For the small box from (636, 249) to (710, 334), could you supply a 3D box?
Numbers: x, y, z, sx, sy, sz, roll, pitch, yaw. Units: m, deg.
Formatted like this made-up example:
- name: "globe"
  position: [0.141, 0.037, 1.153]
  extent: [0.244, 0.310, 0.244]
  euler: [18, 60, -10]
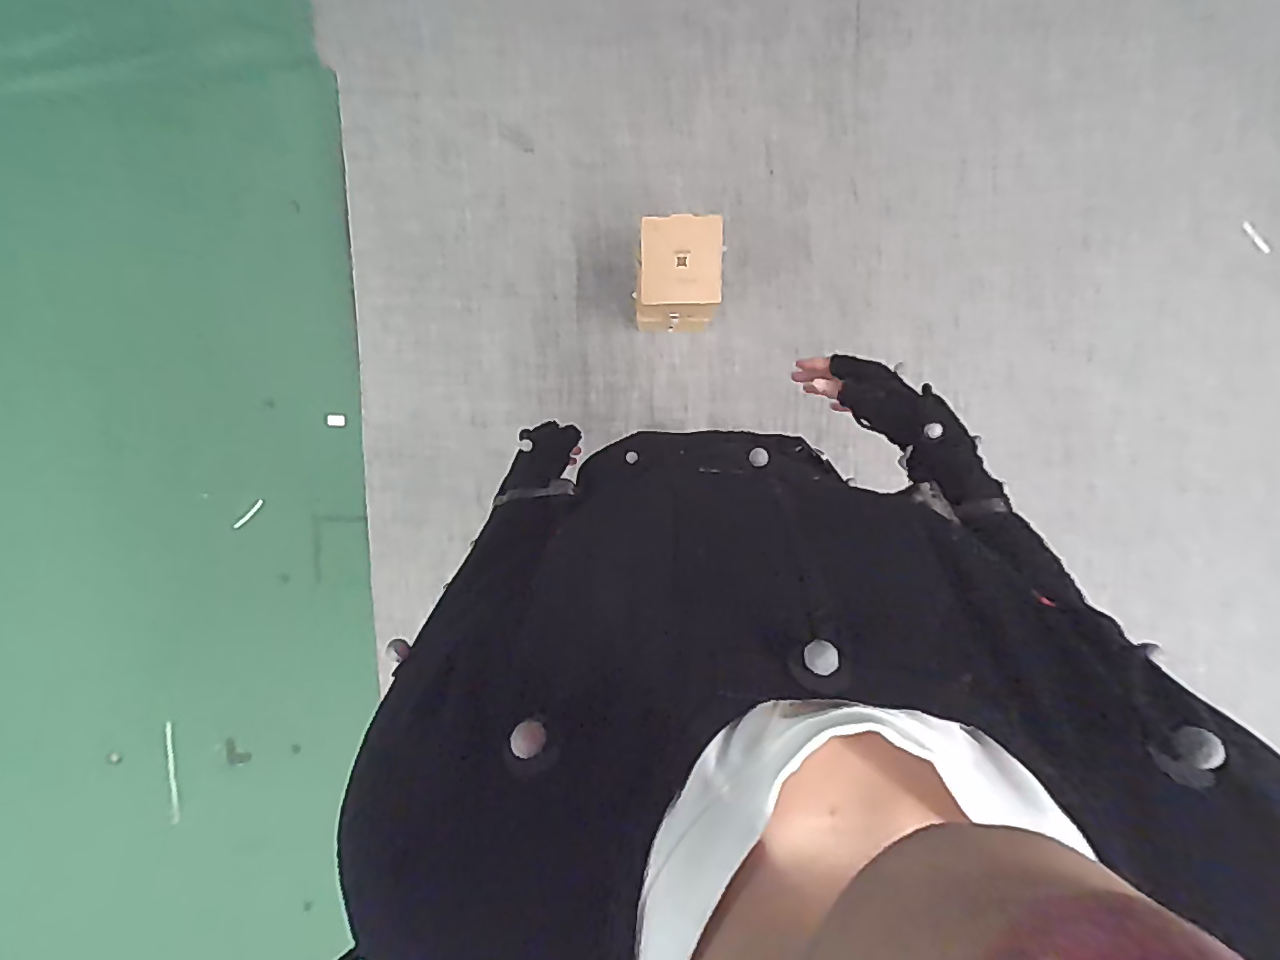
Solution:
- name: "small box"
  position: [0.083, -0.463, 1.342]
  extent: [0.179, 0.176, 0.168]
  euler: [1, 95, 4]

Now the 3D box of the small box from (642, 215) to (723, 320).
- name: "small box"
  position: [0.090, -0.457, 1.181]
  extent: [0.168, 0.176, 0.179]
  euler: [0, 96, 4]
